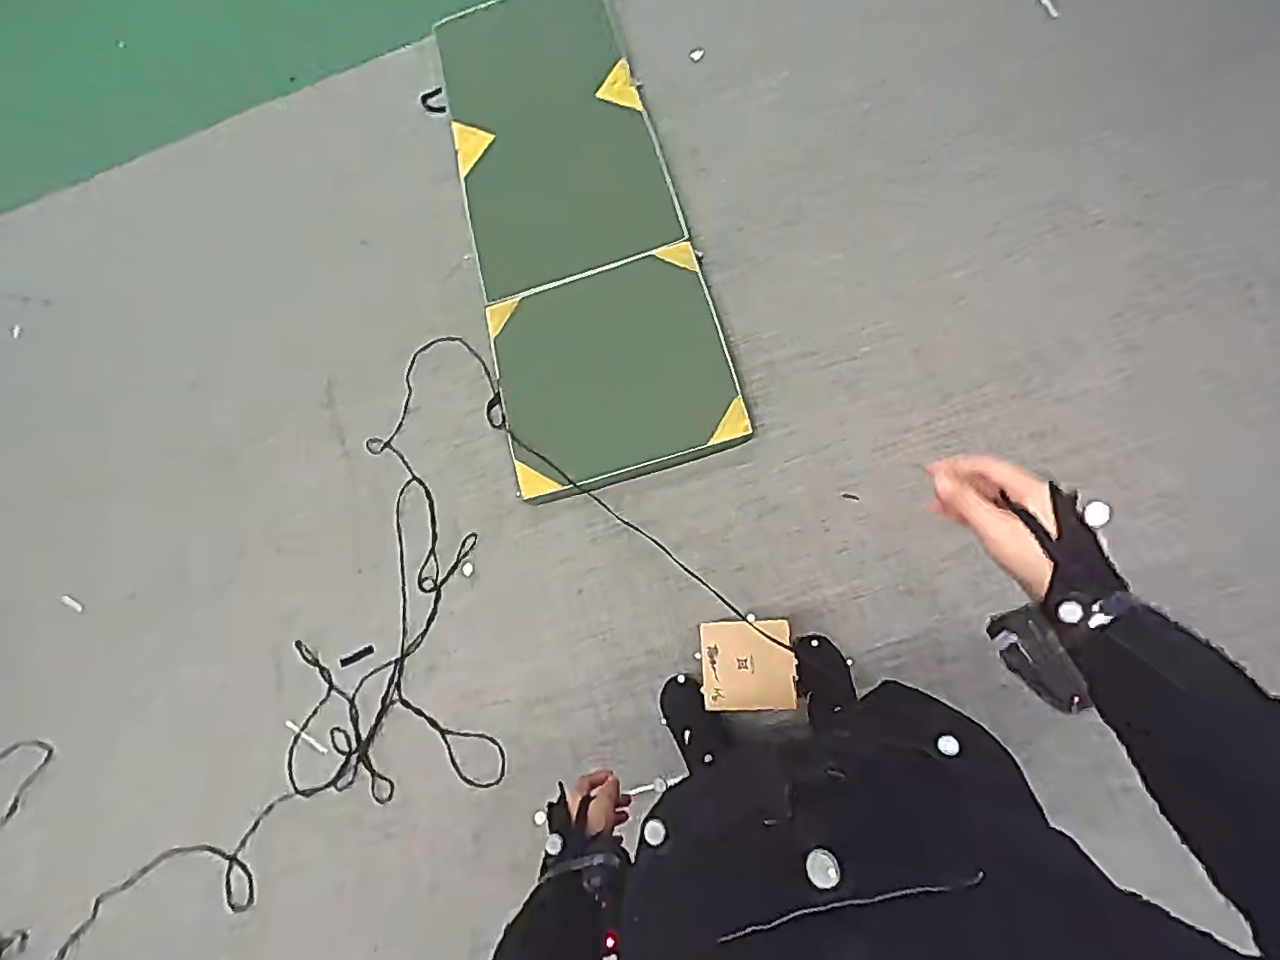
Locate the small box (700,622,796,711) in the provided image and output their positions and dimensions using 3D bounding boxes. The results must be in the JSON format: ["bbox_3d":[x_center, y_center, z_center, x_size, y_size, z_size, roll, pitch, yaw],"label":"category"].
[{"bbox_3d":[0.218,0.380,1.122,0.179,0.176,0.168,-4,73,8],"label":"small box"}]
